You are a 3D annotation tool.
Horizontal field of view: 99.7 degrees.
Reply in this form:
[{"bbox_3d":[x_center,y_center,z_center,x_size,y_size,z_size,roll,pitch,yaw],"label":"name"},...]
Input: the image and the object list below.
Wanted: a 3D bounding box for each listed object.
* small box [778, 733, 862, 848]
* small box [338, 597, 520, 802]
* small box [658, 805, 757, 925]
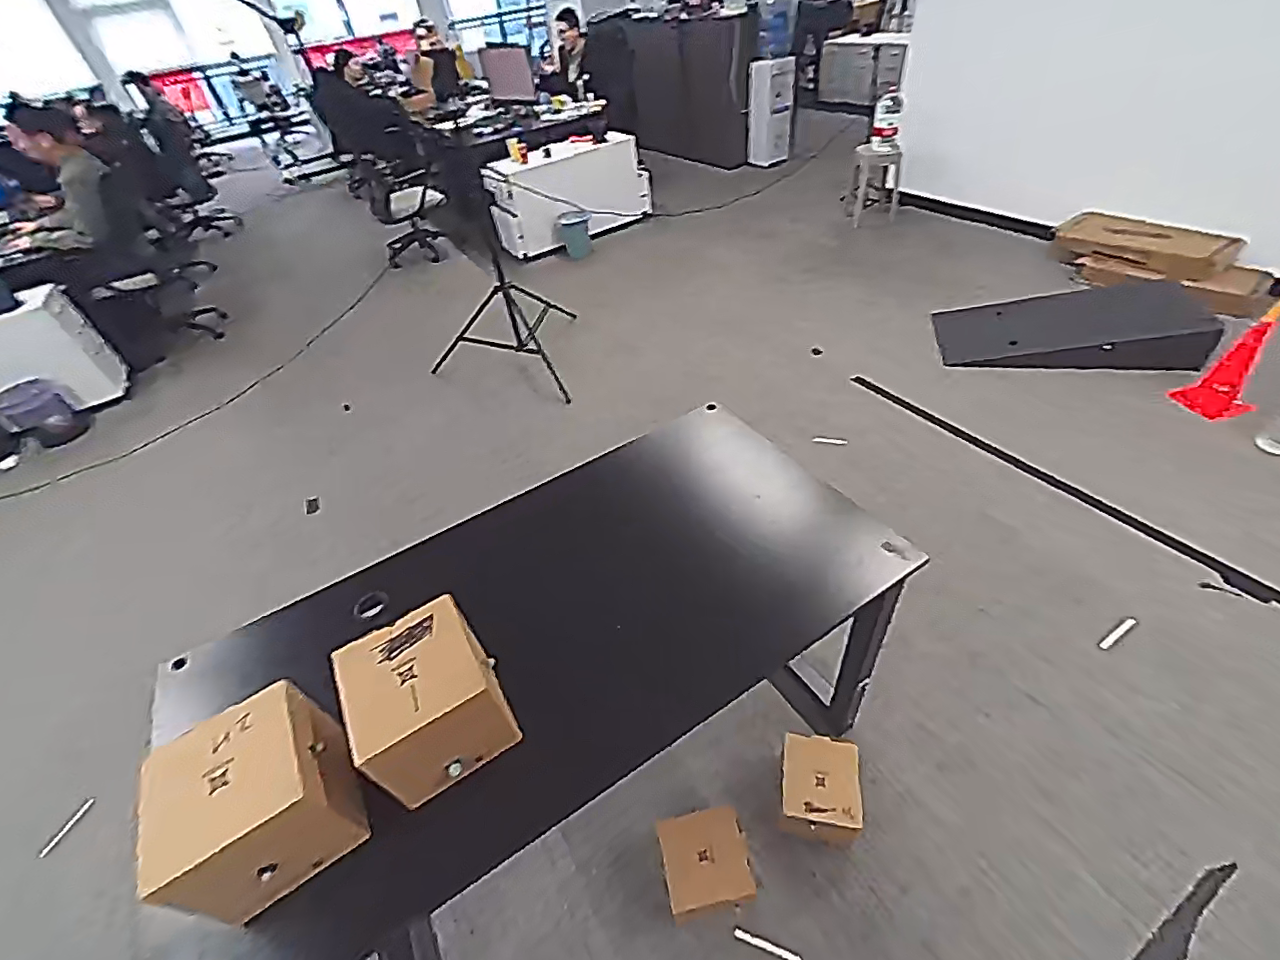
[{"bbox_3d":[0.413,0.723,1.261,0.168,0.176,0.179,3,45,13],"label":"small box"},{"bbox_3d":[-0.291,0.306,0.758,0.168,0.176,0.179,-28,47,-18],"label":"small box"},{"bbox_3d":[0.146,0.845,1.184,0.179,0.176,0.168,-13,43,-2],"label":"small box"}]
